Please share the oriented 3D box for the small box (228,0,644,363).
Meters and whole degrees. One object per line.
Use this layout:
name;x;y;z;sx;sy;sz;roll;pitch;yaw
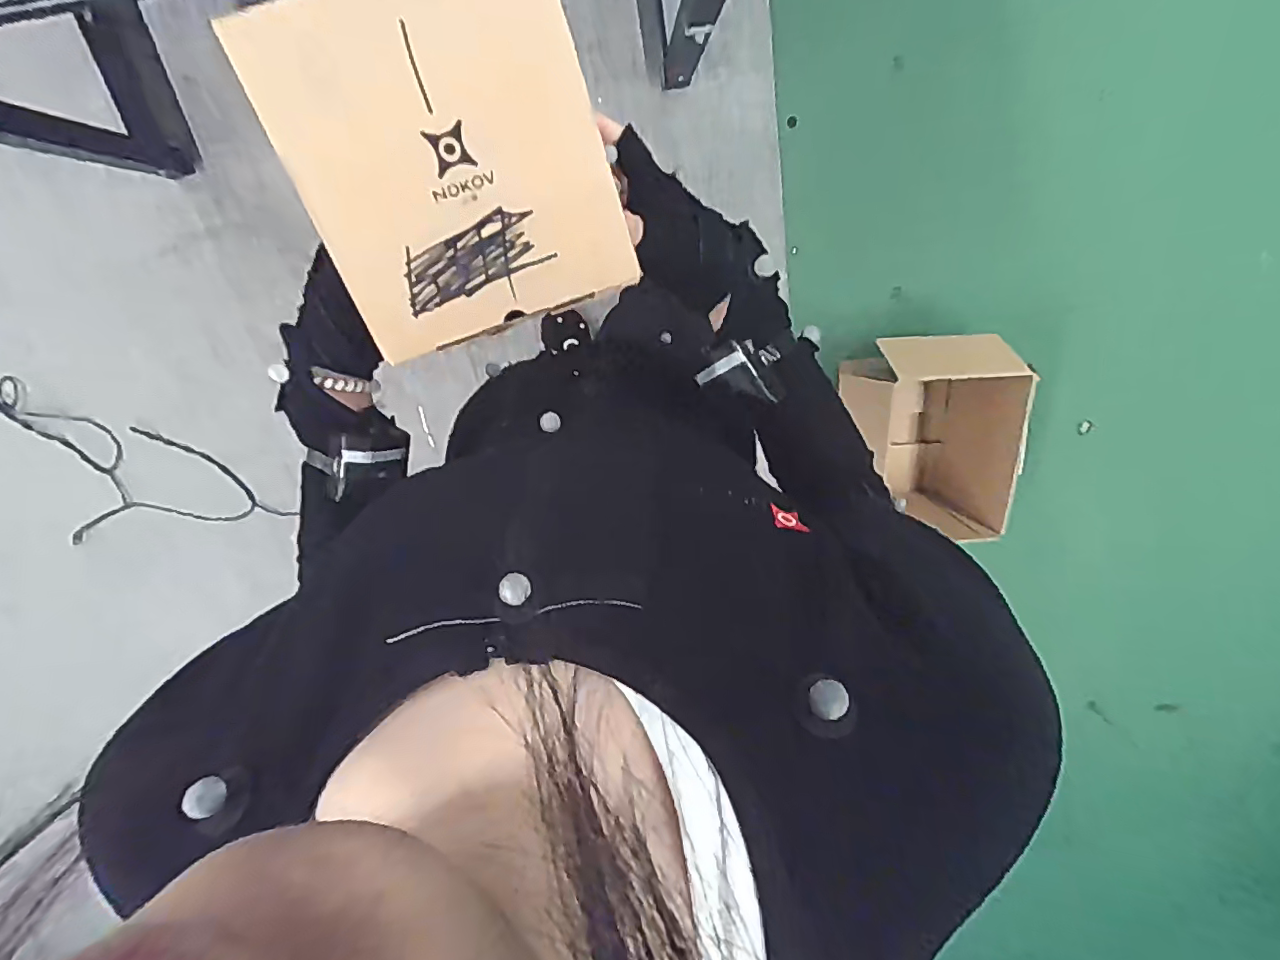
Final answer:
small box;-0.110;-0.201;0.367;0.168;0.176;0.179;-20;114;-3
